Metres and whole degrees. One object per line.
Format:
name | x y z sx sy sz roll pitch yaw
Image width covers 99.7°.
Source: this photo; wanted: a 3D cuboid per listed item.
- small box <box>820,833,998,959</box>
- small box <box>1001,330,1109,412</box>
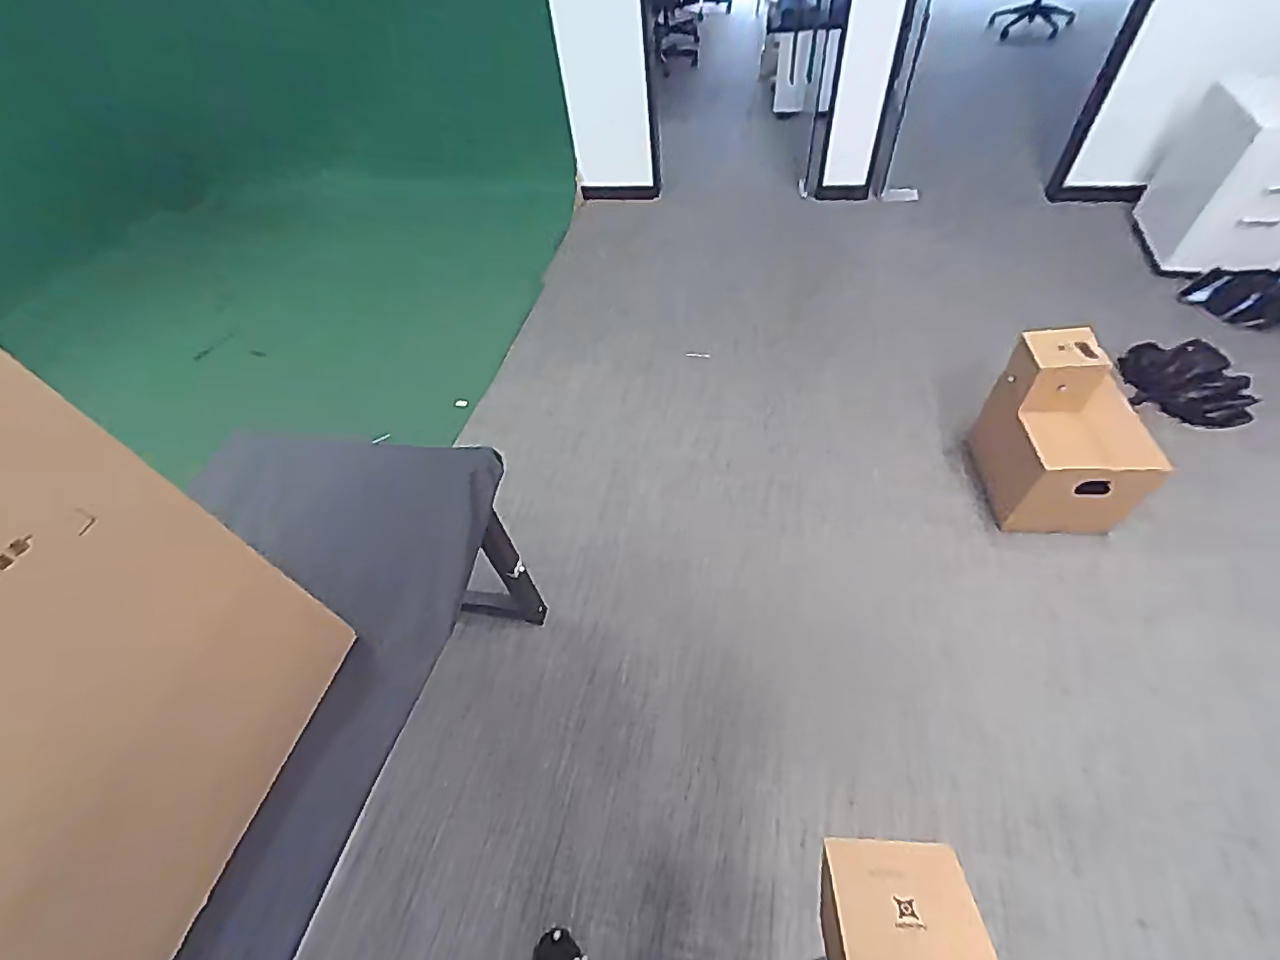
small box | 0.324 0.584 0.674 0.168 0.176 0.179 -2 22 8
small box | 1.200 -0.315 1.579 0.179 0.176 0.168 -1 51 12
